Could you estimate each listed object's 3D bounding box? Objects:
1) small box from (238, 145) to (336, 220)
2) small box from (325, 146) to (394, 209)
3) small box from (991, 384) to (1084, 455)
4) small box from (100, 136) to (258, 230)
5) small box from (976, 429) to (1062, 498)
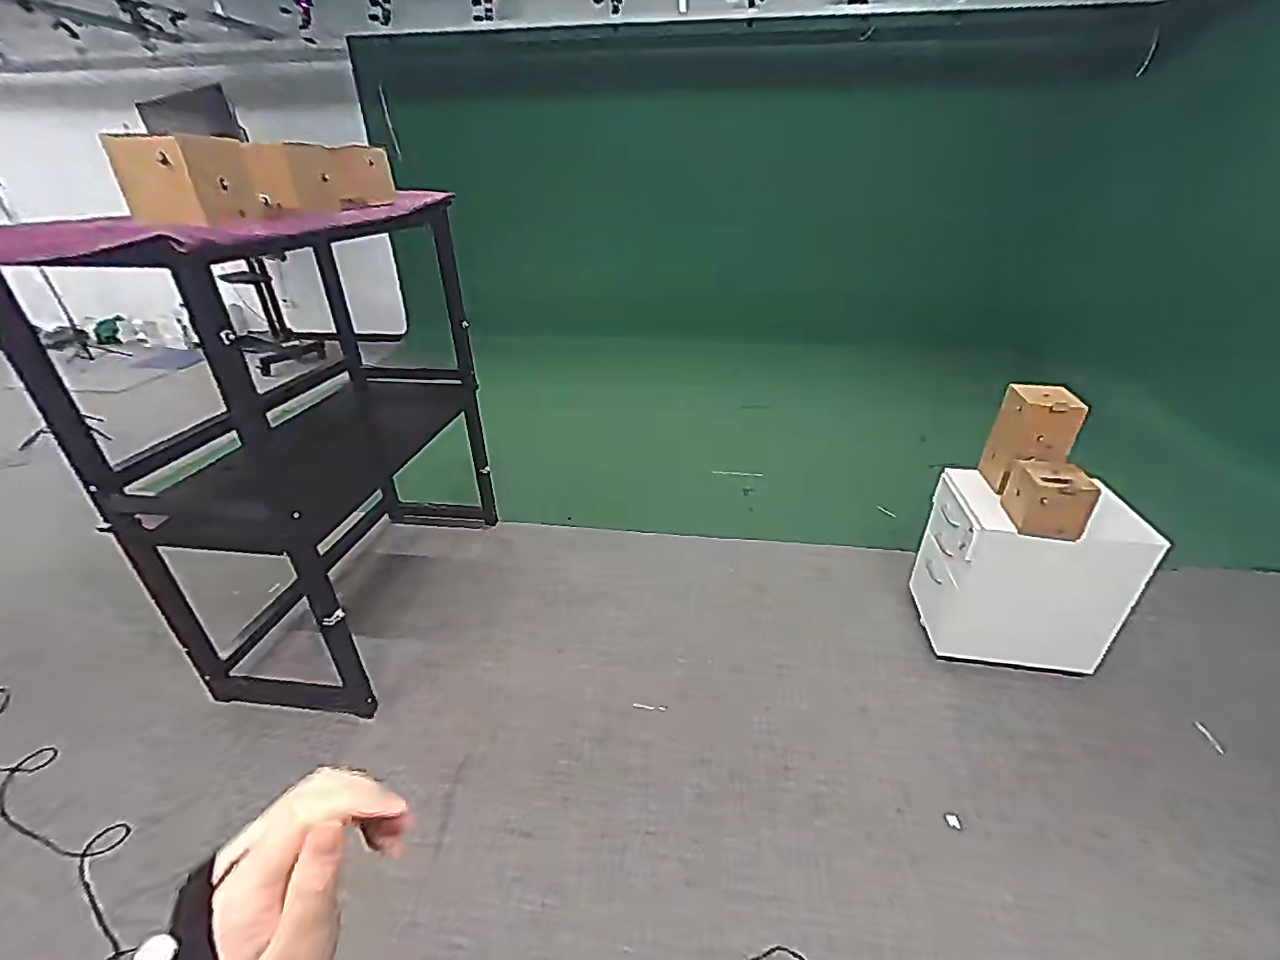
[{"bbox_3d":[-0.954,-0.804,1.460,0.168,0.176,0.179,2,31,6],"label":"small box"},{"bbox_3d":[-0.933,-0.982,1.759,0.168,0.176,0.179,2,30,9],"label":"small box"},{"bbox_3d":[1.288,-0.200,1.768,0.168,0.176,0.179,5,33,9],"label":"small box"},{"bbox_3d":[-0.987,-0.647,1.181,0.179,0.176,0.168,3,29,6],"label":"small box"},{"bbox_3d":[1.287,-0.059,1.852,0.168,0.176,0.179,4,31,8],"label":"small box"}]
